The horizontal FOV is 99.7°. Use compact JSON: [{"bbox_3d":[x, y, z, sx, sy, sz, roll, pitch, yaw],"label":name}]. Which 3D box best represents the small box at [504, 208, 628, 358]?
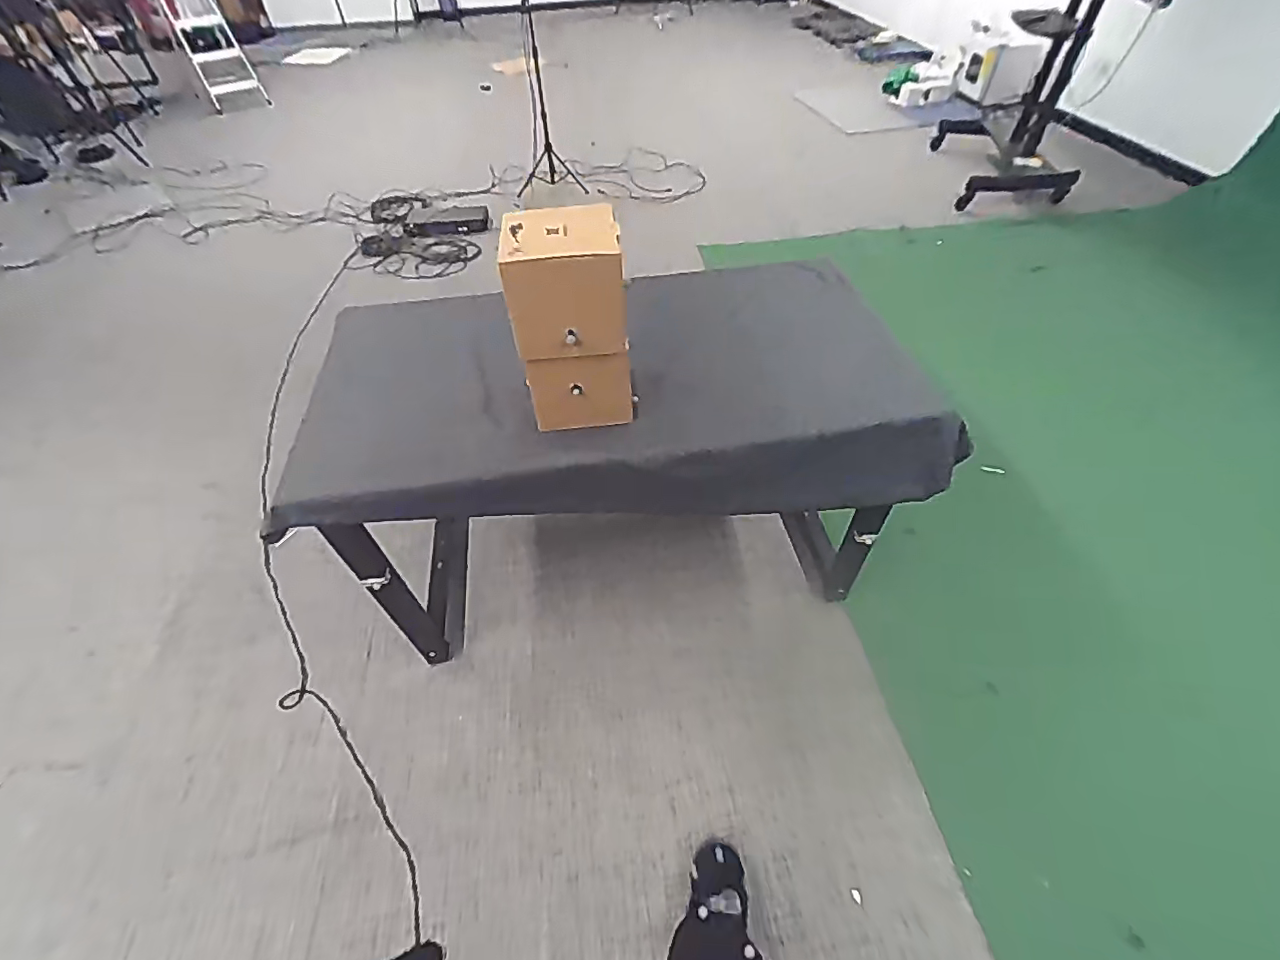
[{"bbox_3d":[-0.110,-0.313,0.866,0.179,0.176,0.168,-5,48,-3],"label":"small box"}]

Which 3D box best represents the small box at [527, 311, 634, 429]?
[{"bbox_3d":[-0.103,-0.212,0.995,0.179,0.176,0.168,-6,49,-2],"label":"small box"}]
